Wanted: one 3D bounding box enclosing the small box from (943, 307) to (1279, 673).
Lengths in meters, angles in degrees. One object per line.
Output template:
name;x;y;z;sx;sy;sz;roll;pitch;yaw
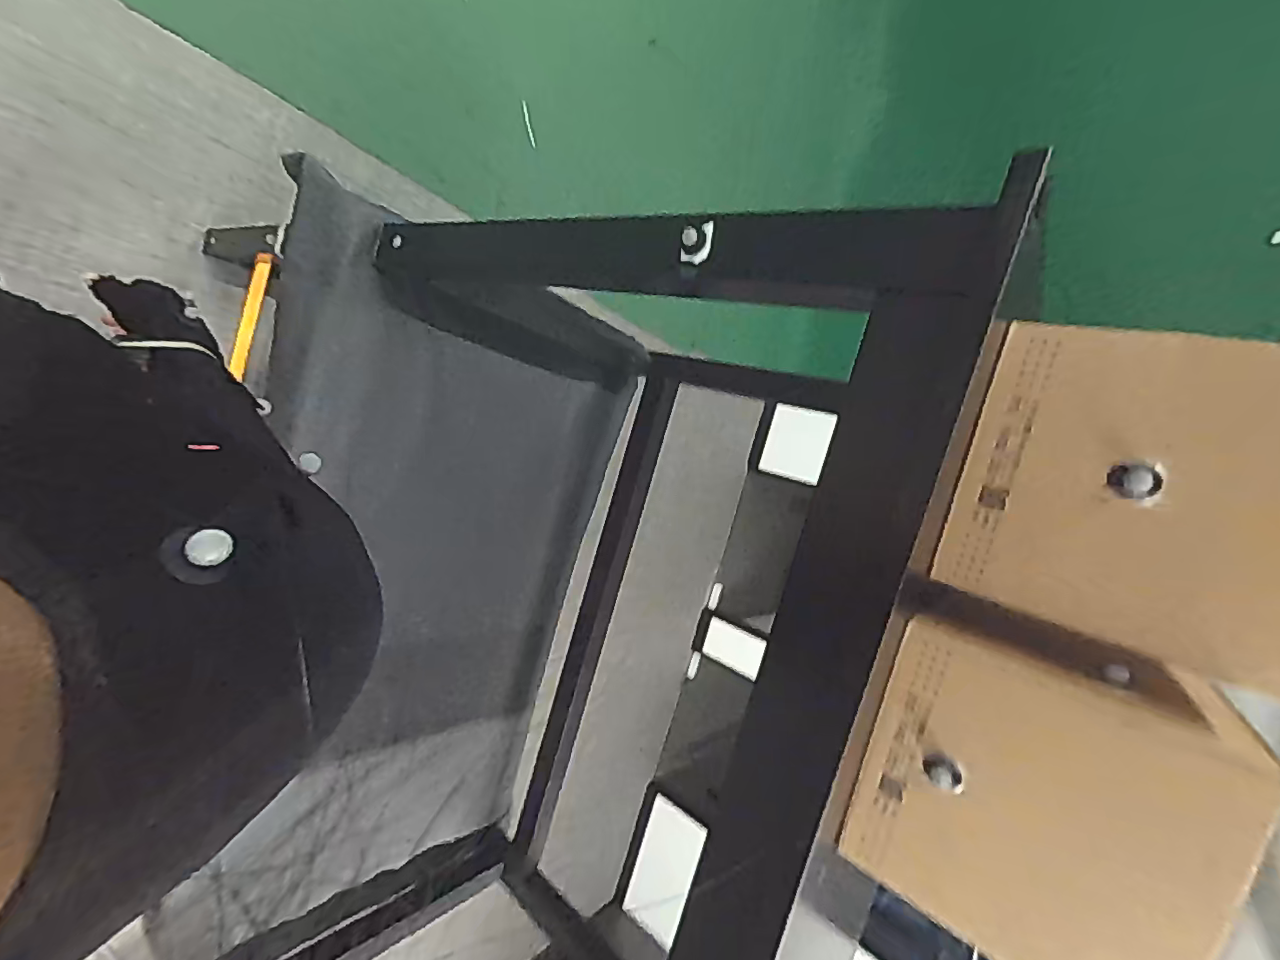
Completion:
small box;0.311;-0.004;0.340;0.179;0.176;0.168;1;106;-53
